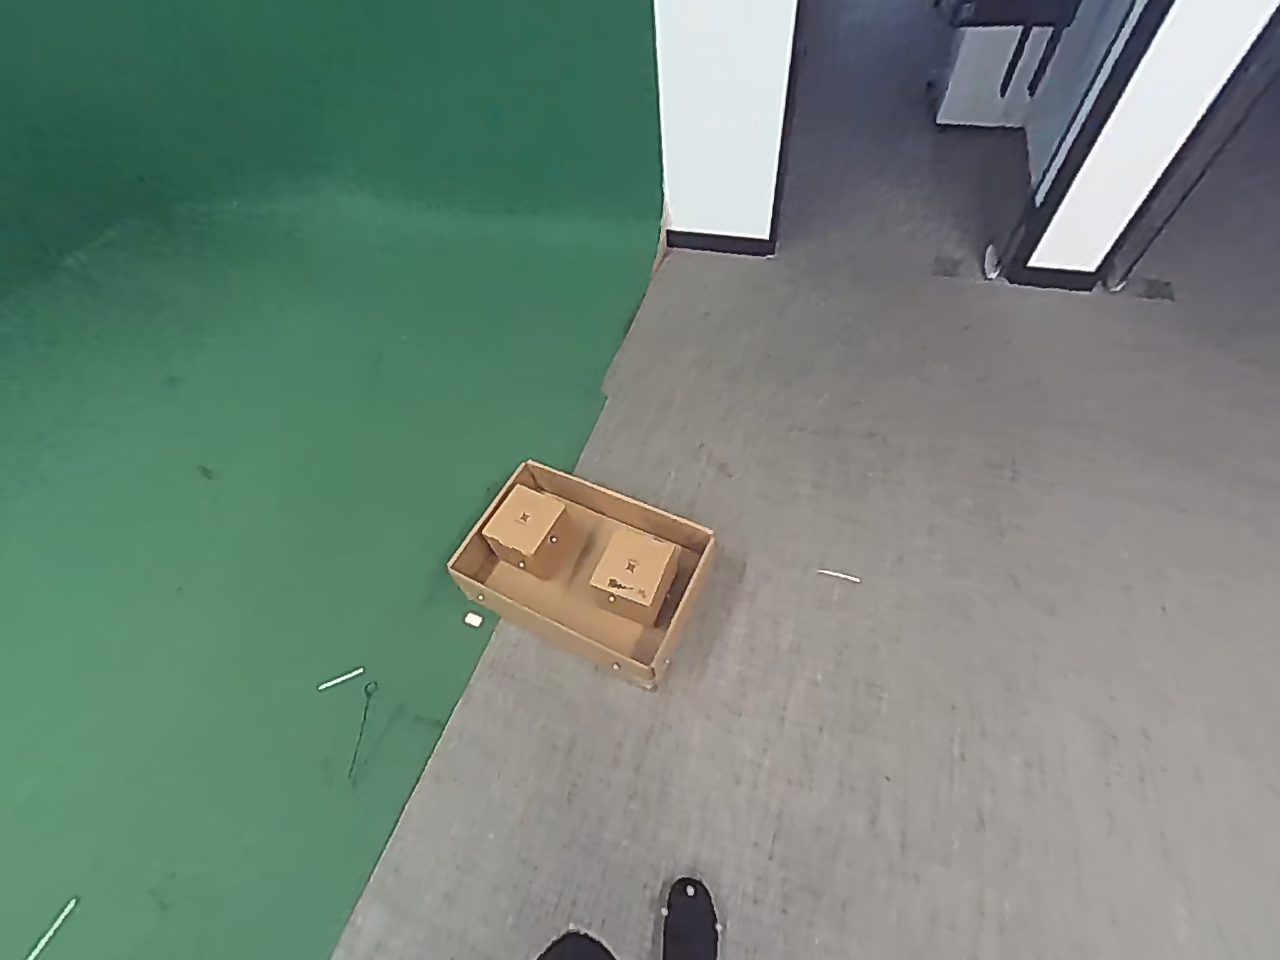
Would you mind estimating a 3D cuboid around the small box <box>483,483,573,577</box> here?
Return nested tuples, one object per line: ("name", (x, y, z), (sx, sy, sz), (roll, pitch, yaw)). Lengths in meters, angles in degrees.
("small box", (-0.305, 0.145, 1.521), (0.168, 0.176, 0.179), (23, 61, 18))
